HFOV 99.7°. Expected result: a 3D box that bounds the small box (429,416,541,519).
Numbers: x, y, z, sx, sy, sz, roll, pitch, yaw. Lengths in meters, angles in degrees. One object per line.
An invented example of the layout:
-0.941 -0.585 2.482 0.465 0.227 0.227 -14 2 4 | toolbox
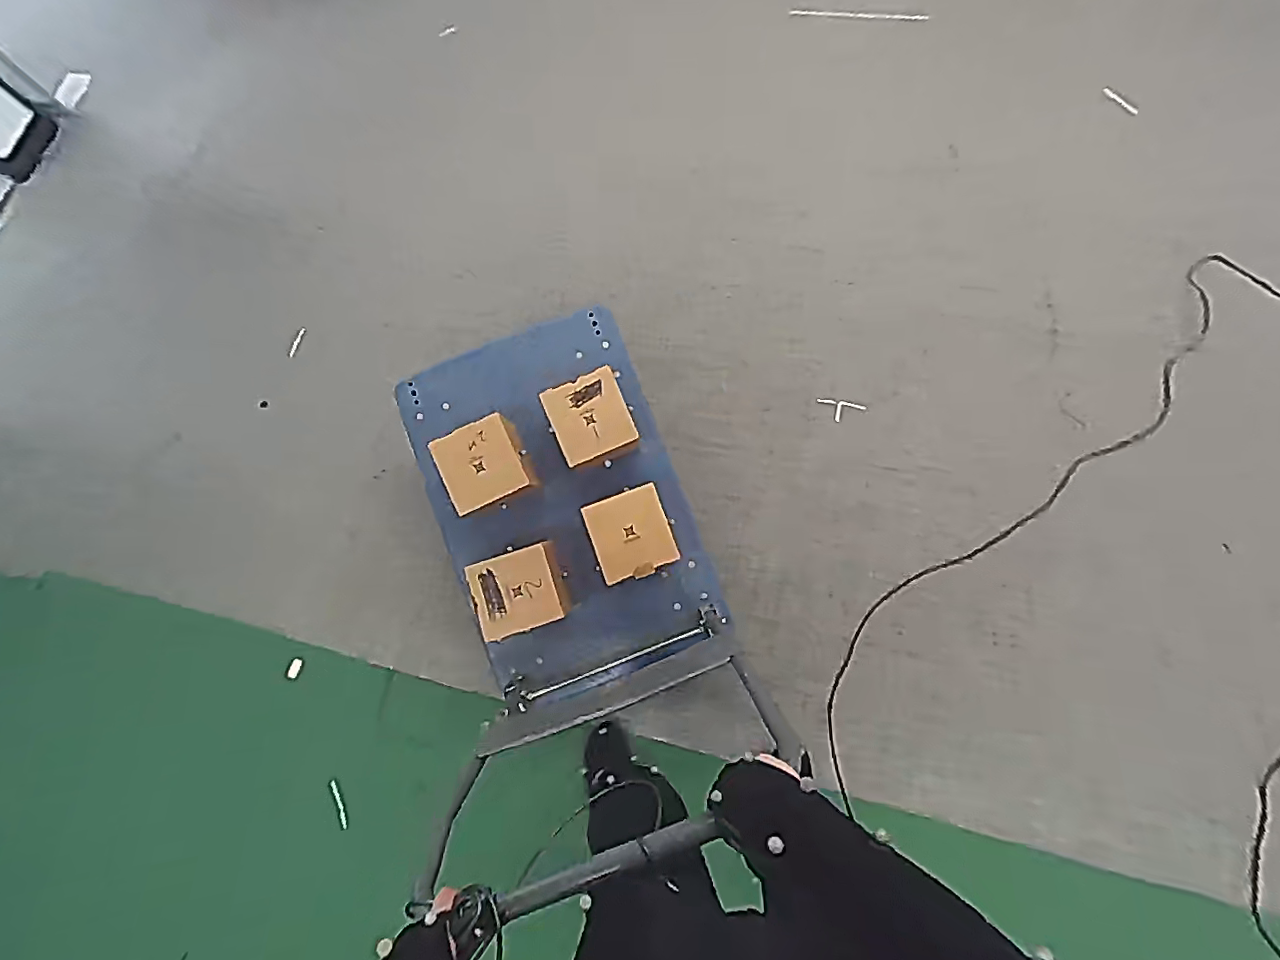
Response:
-0.343 -0.023 1.233 0.168 0.176 0.179 -25 85 -2 | small box

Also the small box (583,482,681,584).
-0.018 0.118 1.217 0.168 0.176 0.179 -21 86 -1 | small box

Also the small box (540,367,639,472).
-0.109 -0.129 1.236 0.168 0.176 0.179 -24 86 0 | small box
